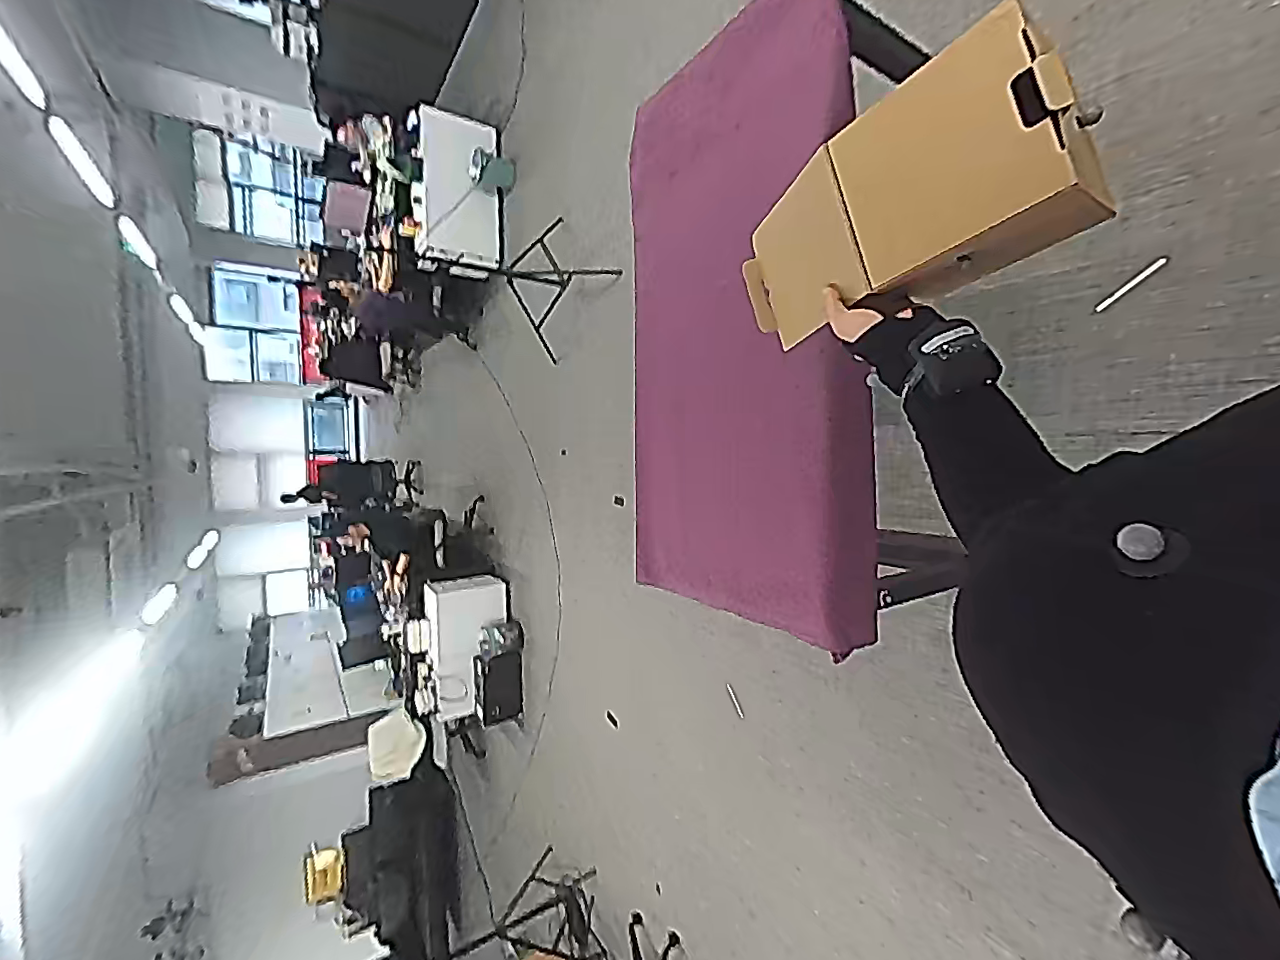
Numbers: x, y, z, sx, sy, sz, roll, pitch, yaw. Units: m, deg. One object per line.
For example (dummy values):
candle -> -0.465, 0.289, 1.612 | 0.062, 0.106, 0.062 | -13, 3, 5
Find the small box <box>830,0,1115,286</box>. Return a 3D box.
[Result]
small box -> 0.328, -0.308, 0.539 | 0.179, 0.176, 0.168 | -18, 87, 51
